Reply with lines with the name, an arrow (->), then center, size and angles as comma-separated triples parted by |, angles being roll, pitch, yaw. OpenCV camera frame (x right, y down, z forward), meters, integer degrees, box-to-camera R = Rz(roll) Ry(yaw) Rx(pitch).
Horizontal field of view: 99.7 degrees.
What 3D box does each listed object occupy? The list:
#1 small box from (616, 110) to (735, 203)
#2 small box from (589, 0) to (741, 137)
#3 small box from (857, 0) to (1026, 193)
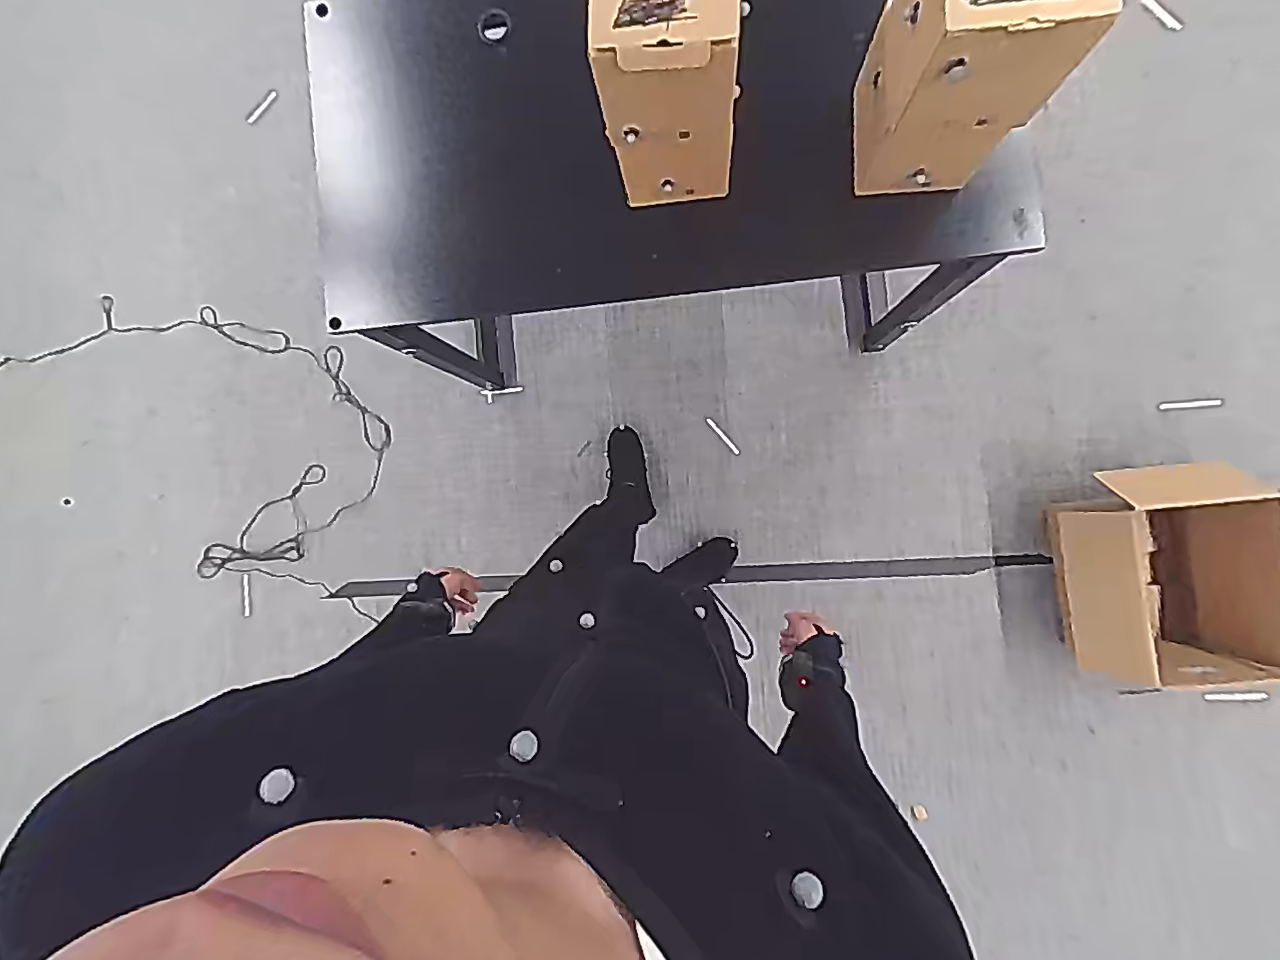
small box -> 0.051, -0.554, 0.819 | 0.168, 0.176, 0.179 | -4, 89, 6
small box -> 0.036, -0.546, 0.656 | 0.168, 0.176, 0.179 | 1, 89, 5
small box -> 0.419, -0.545, 0.777 | 0.168, 0.176, 0.179 | 0, 89, 7
